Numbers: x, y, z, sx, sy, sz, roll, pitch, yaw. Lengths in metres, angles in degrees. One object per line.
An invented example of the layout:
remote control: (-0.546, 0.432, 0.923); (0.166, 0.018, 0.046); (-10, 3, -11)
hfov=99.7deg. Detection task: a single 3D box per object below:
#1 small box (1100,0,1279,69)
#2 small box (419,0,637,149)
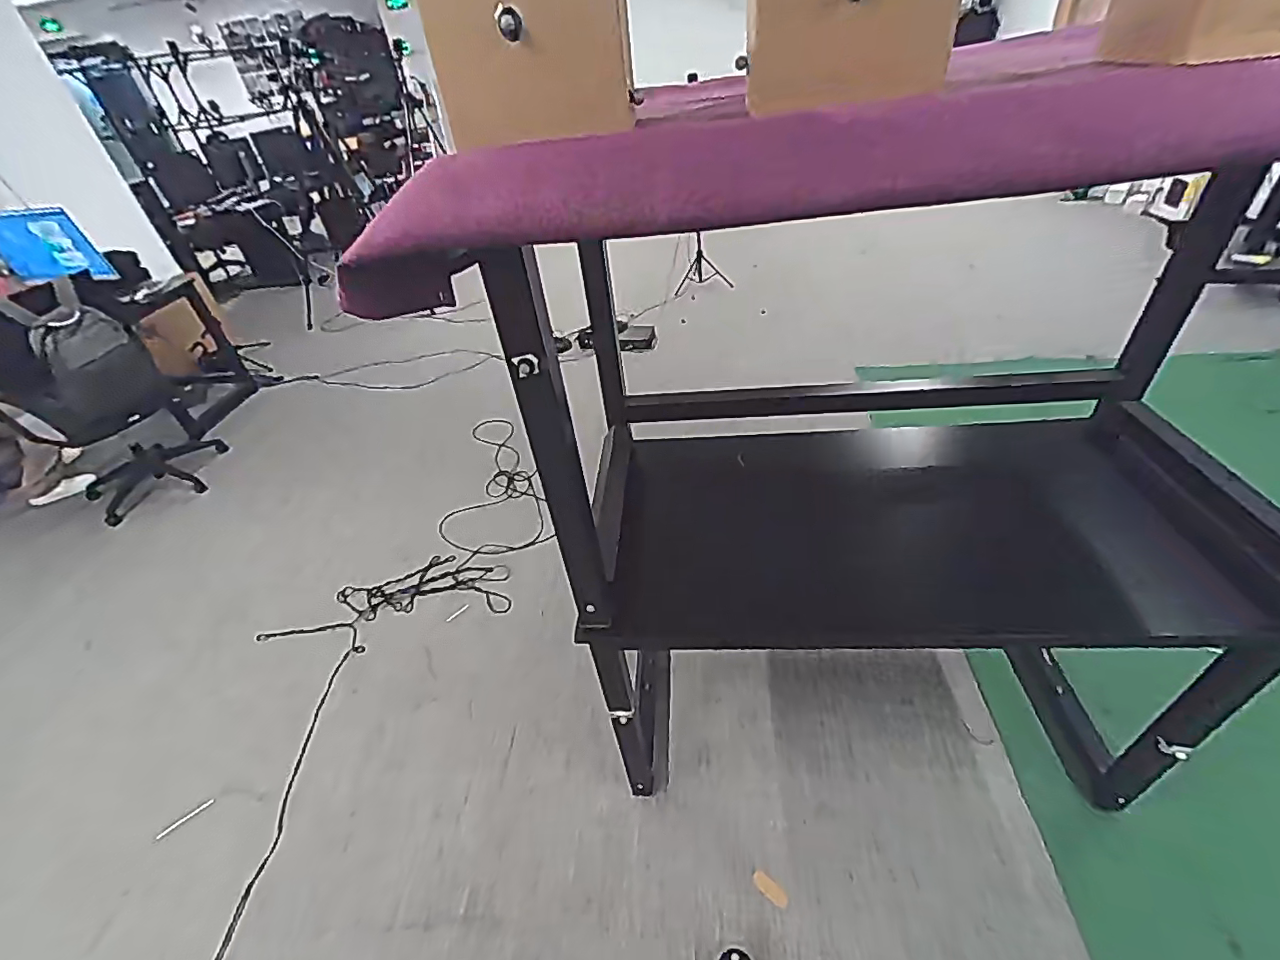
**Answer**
small box: (0.556, -0.470, 0.466); (0.168, 0.176, 0.179); (2, 38, 11)
small box: (-0.096, -0.439, 0.527); (0.179, 0.176, 0.168); (-4, 39, 5)
